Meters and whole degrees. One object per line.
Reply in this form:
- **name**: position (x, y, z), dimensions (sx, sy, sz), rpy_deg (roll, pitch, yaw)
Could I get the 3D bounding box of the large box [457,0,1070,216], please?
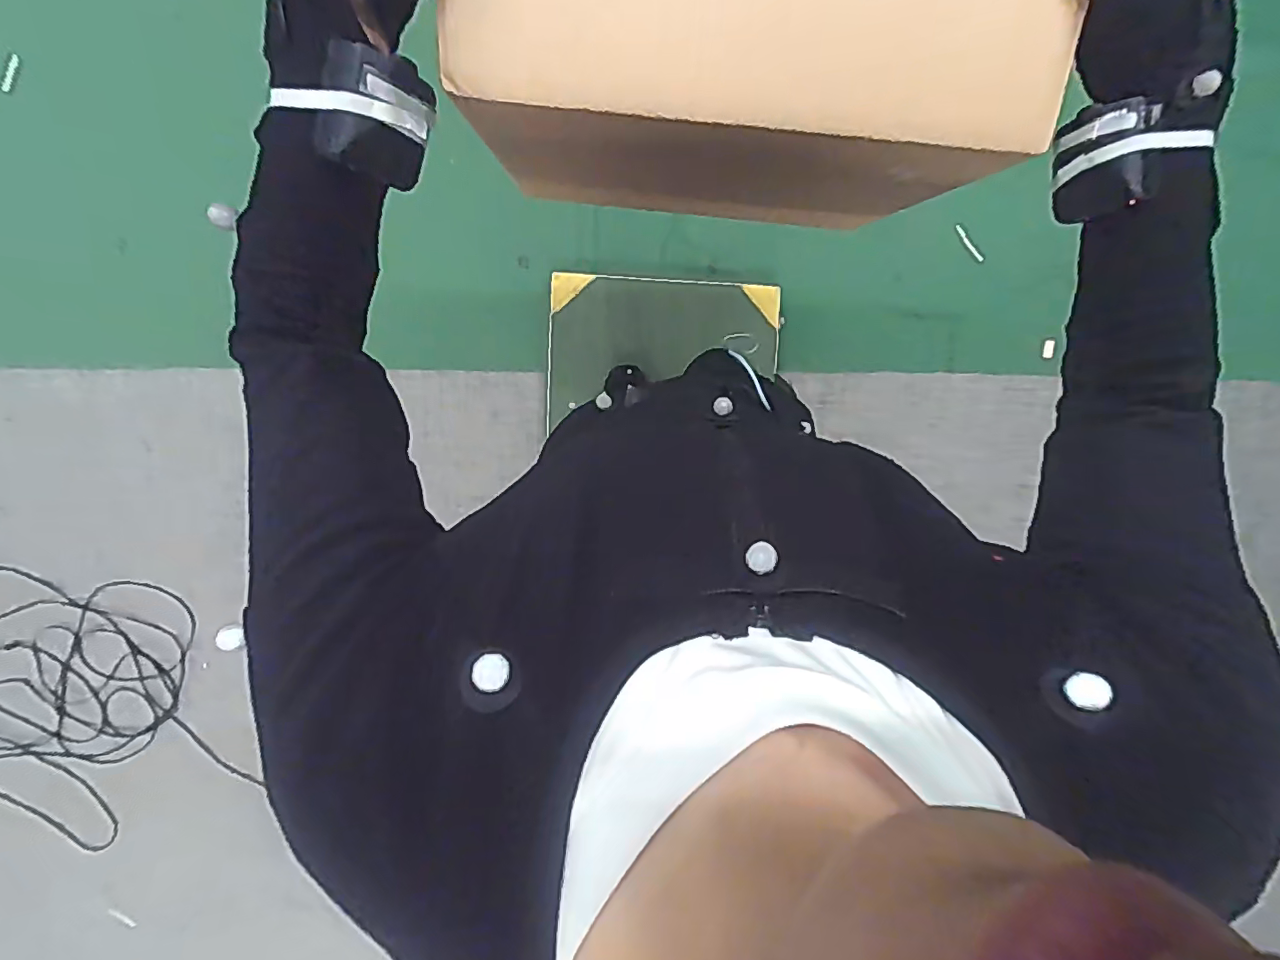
- **large box**: position (0.079, -0.433, 0.464), dimensions (0.408, 0.320, 0.320), rpy_deg (3, 107, -4)
